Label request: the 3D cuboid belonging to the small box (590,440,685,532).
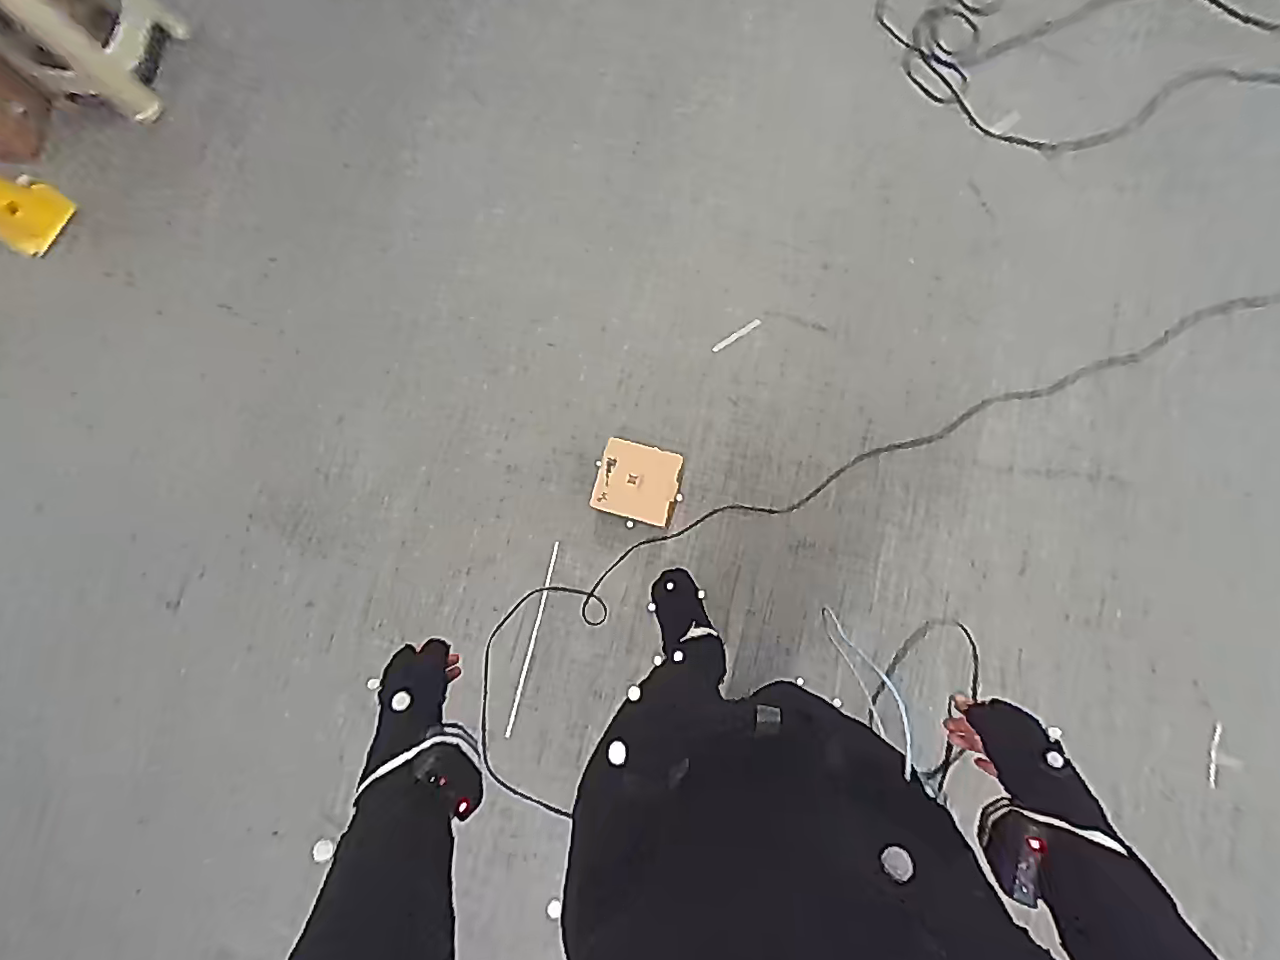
[{"bbox_3d":[-0.001,0.019,1.266,0.179,0.176,0.168,16,85,6],"label":"small box"}]
